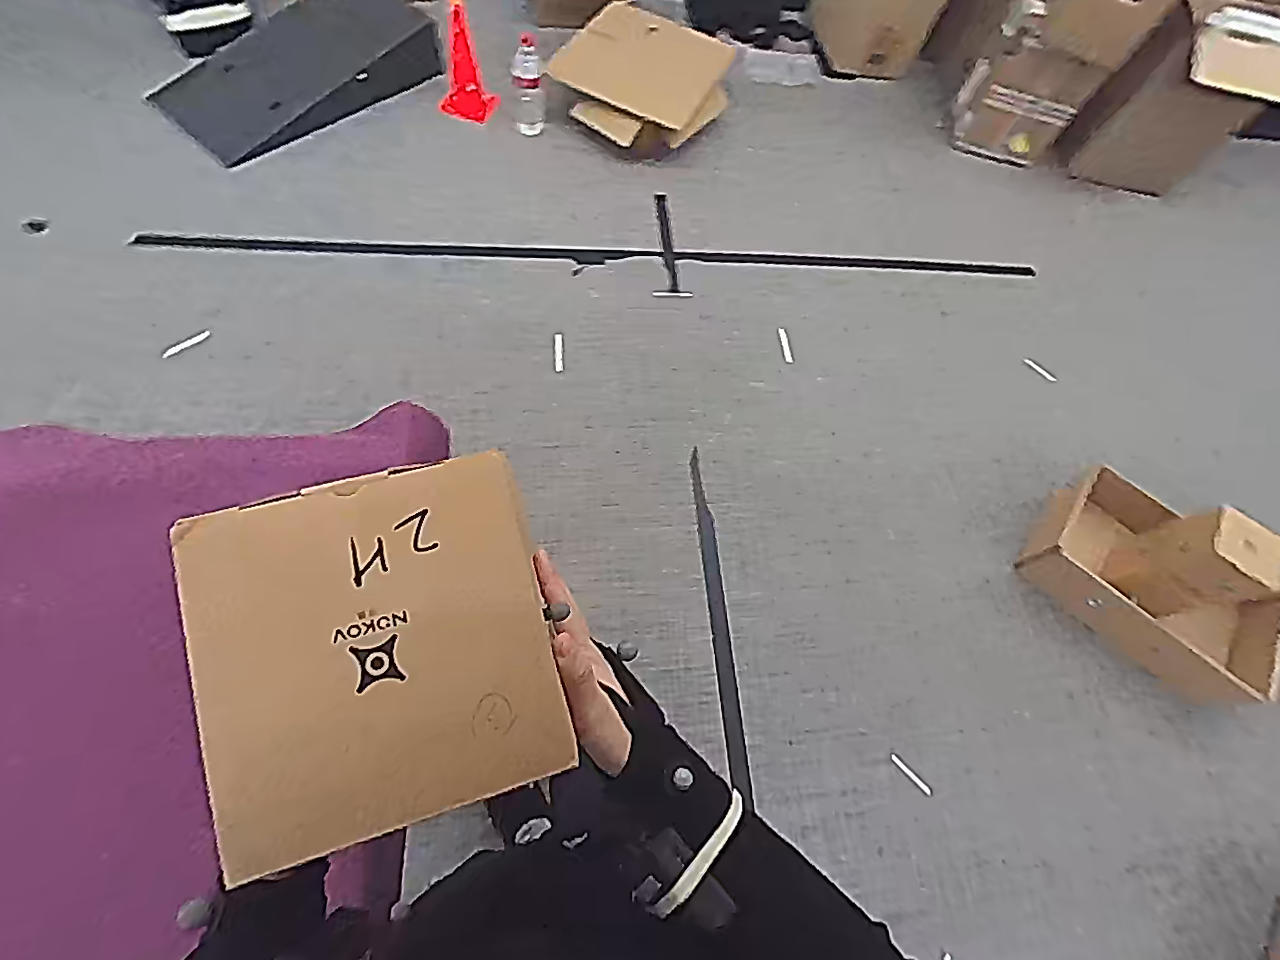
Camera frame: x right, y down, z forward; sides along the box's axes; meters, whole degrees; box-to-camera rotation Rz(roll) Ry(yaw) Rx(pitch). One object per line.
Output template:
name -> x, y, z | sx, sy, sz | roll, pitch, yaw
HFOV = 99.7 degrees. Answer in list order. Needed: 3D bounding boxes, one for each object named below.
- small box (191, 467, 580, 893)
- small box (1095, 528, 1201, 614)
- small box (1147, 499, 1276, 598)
small box -> -0.140, 0.106, 0.353 | 0.168, 0.176, 0.179 | -13, 81, -12
small box -> 1.495, 0.265, 1.584 | 0.168, 0.176, 0.179 | 40, 66, 11
small box -> 1.515, 0.190, 1.442 | 0.168, 0.176, 0.179 | 36, 64, 8
